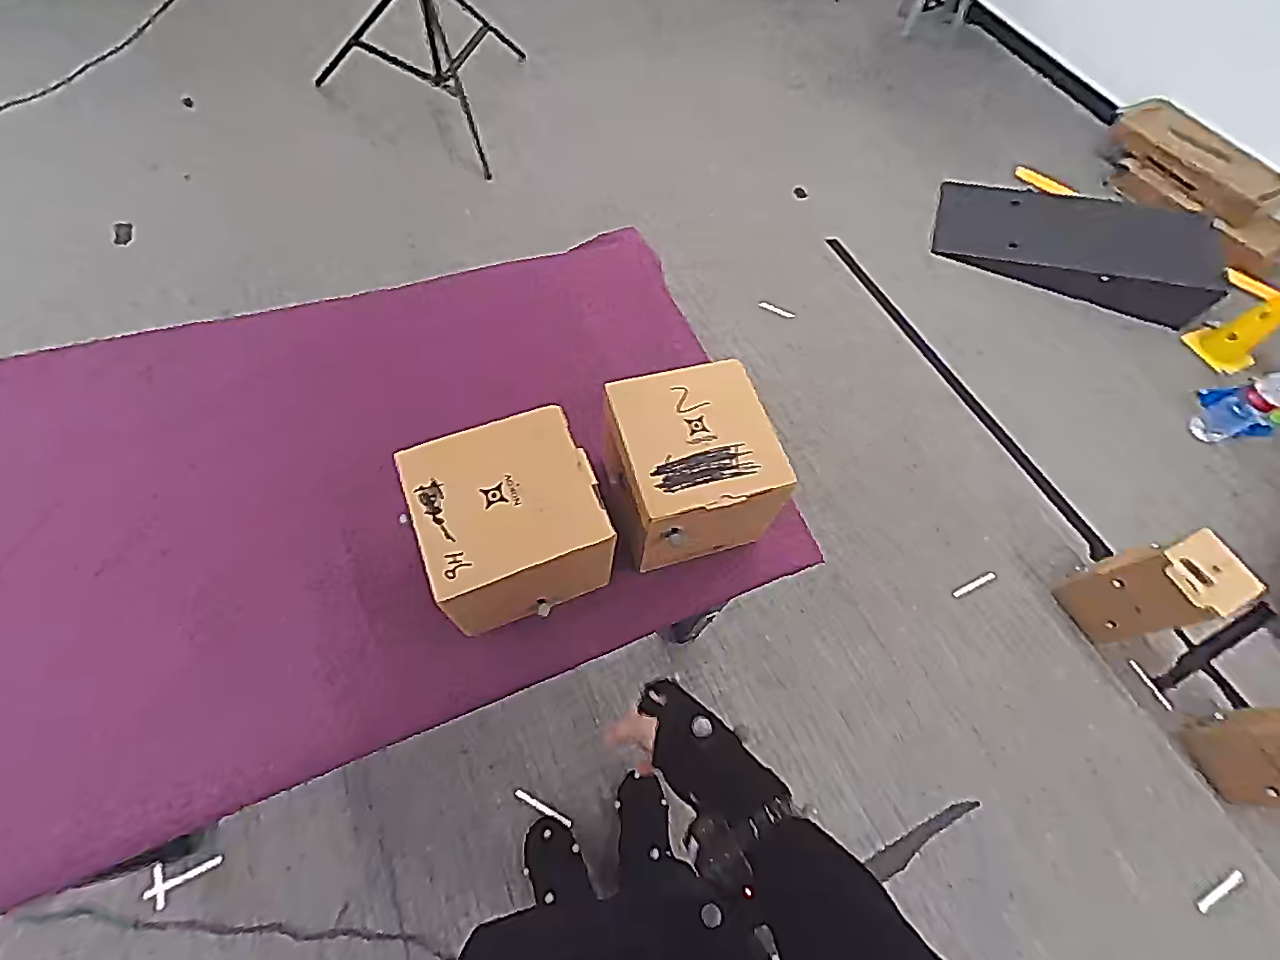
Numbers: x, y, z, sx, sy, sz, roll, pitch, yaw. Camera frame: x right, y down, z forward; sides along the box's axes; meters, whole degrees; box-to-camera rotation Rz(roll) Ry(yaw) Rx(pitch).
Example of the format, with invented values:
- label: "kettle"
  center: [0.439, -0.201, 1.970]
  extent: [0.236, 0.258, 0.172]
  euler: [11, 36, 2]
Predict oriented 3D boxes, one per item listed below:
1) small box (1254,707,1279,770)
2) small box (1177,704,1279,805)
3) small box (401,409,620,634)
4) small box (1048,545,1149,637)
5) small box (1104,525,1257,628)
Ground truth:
- label: "small box"
  center: [1.511, 0.578, 1.160]
  extent: [0.179, 0.176, 0.168]
  euler: [-21, 68, -16]
- label: "small box"
  center: [1.482, 0.655, 1.301]
  extent: [0.168, 0.176, 0.179]
  euler: [-17, 67, -15]
- label: "small box"
  center: [-0.138, 0.052, 0.600]
  extent: [0.179, 0.176, 0.168]
  euler: [-19, 67, -16]
- label: "small box"
  center: [1.268, 0.307, 1.454]
  extent: [0.168, 0.176, 0.179]
  euler: [-23, 67, -18]
- label: "small box"
  center: [1.287, 0.237, 1.306]
  extent: [0.179, 0.176, 0.168]
  euler: [-20, 67, -17]
